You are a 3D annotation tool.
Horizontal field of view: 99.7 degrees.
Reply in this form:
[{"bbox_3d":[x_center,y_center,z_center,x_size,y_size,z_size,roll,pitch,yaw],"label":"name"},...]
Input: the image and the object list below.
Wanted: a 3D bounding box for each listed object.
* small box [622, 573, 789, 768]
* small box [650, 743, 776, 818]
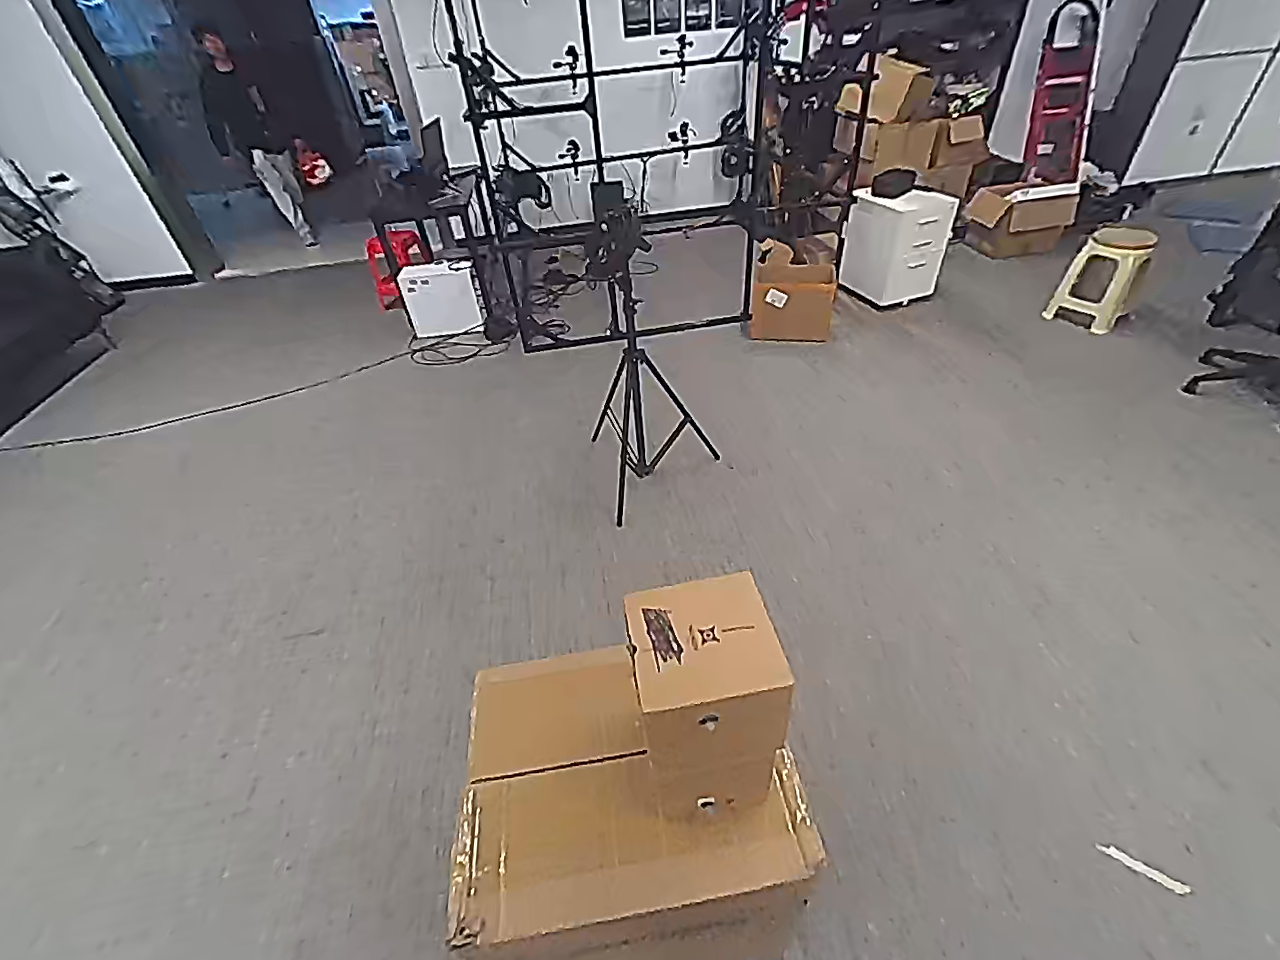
[{"bbox_3d":[0.081,0.251,0.708,0.179,0.176,0.168,-10,41,-3],"label":"small box"},{"bbox_3d":[0.093,0.375,0.816,0.168,0.176,0.179,-11,42,-3],"label":"small box"}]
